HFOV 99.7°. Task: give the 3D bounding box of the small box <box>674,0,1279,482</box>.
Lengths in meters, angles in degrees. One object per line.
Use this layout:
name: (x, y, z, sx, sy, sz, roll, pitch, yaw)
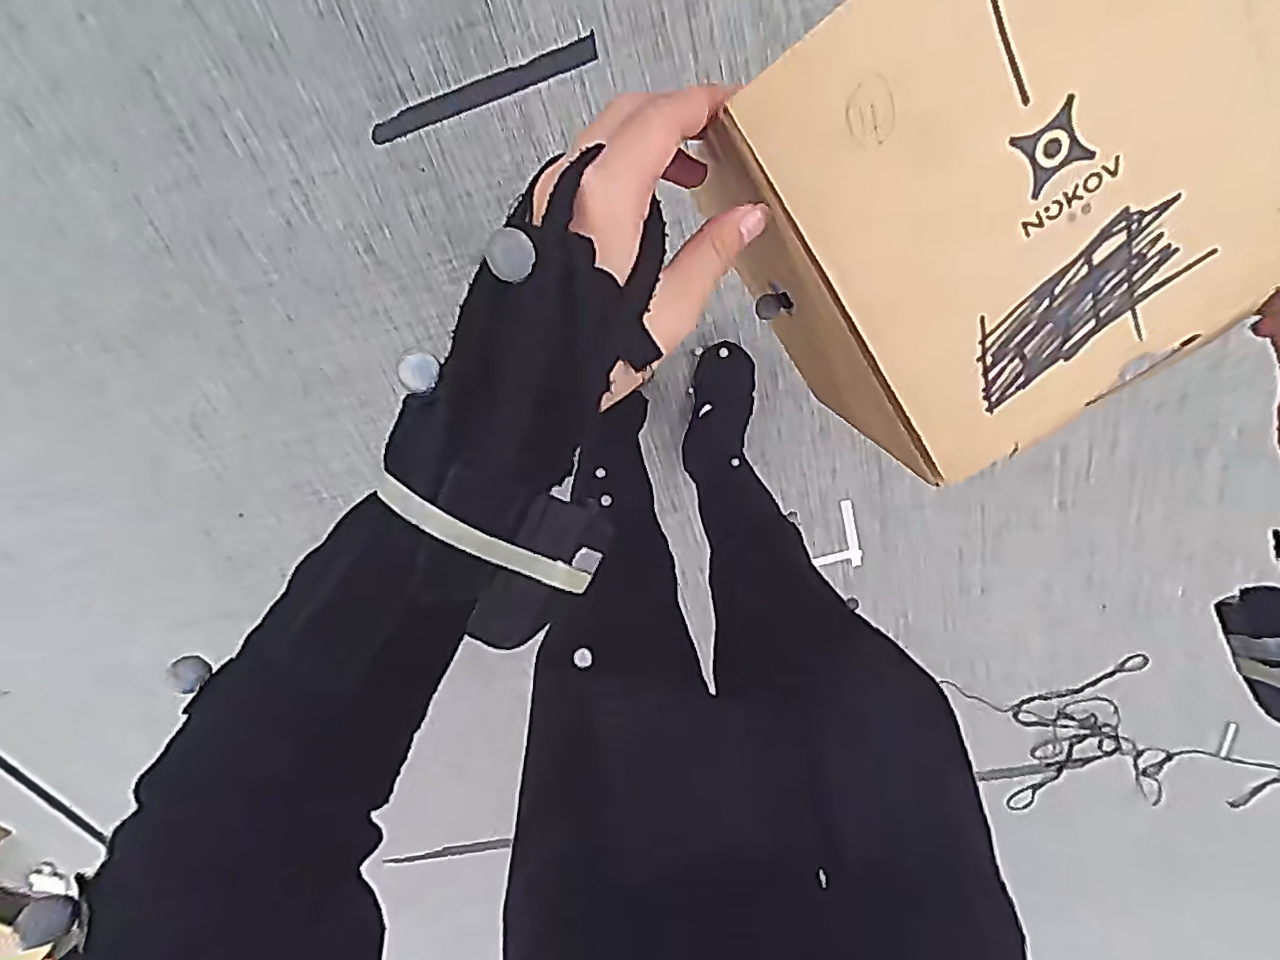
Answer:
small box: (0.132, -0.135, 0.257, 0.168, 0.176, 0.179, -35, 108, 12)
